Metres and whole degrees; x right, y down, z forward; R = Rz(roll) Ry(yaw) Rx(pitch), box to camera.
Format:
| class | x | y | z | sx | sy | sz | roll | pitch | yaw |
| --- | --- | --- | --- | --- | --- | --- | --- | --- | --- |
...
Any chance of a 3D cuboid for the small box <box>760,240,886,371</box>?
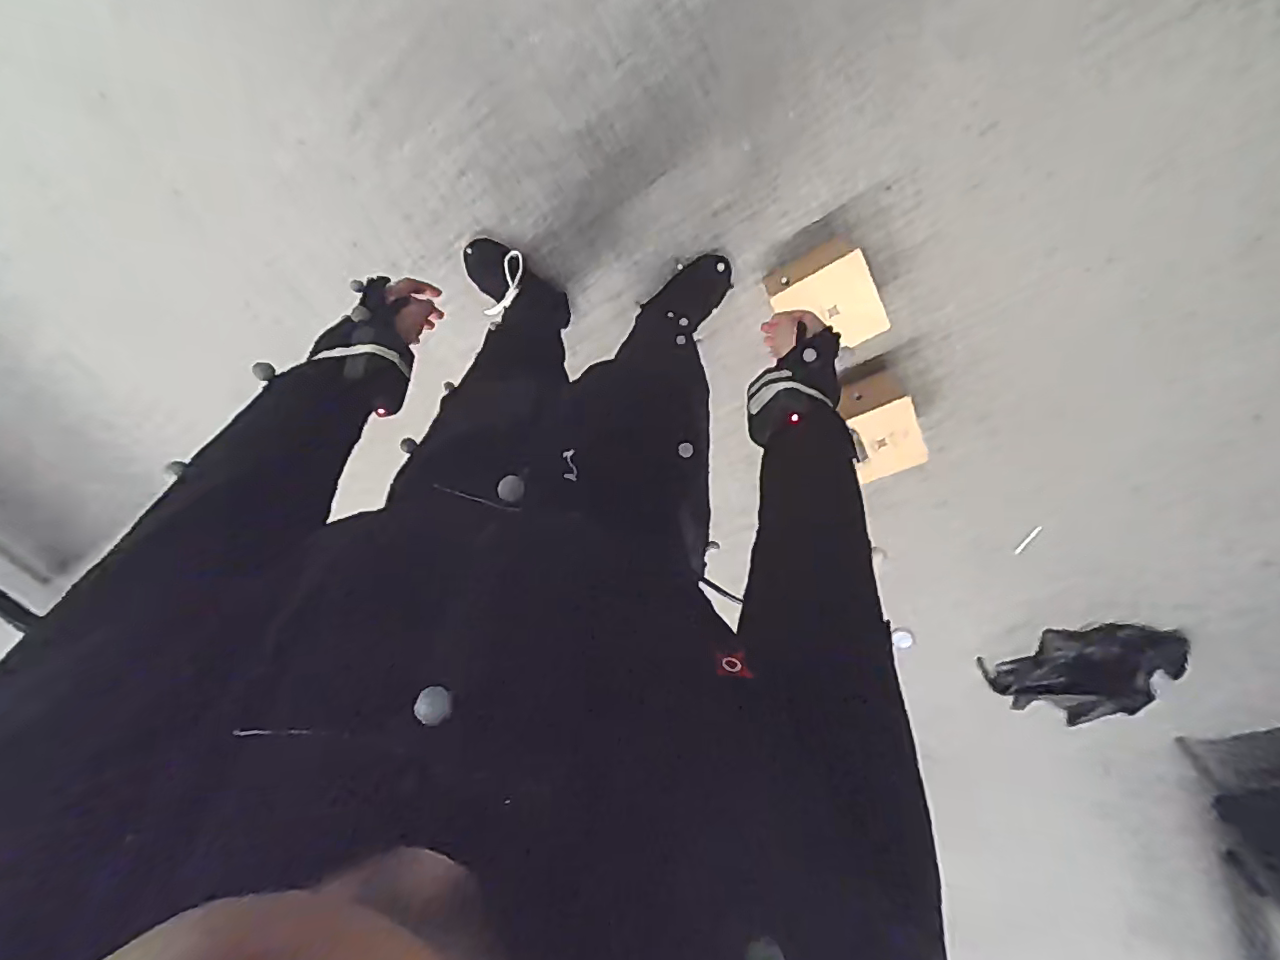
| class | x | y | z | sx | sy | sz | roll | pitch | yaw |
| --- | --- | --- | --- | --- | --- | --- | --- | --- | --- |
| small box | 0.354 | -0.351 | 1.073 | 0.179 | 0.176 | 0.168 | -25 | 115 | 20 |
